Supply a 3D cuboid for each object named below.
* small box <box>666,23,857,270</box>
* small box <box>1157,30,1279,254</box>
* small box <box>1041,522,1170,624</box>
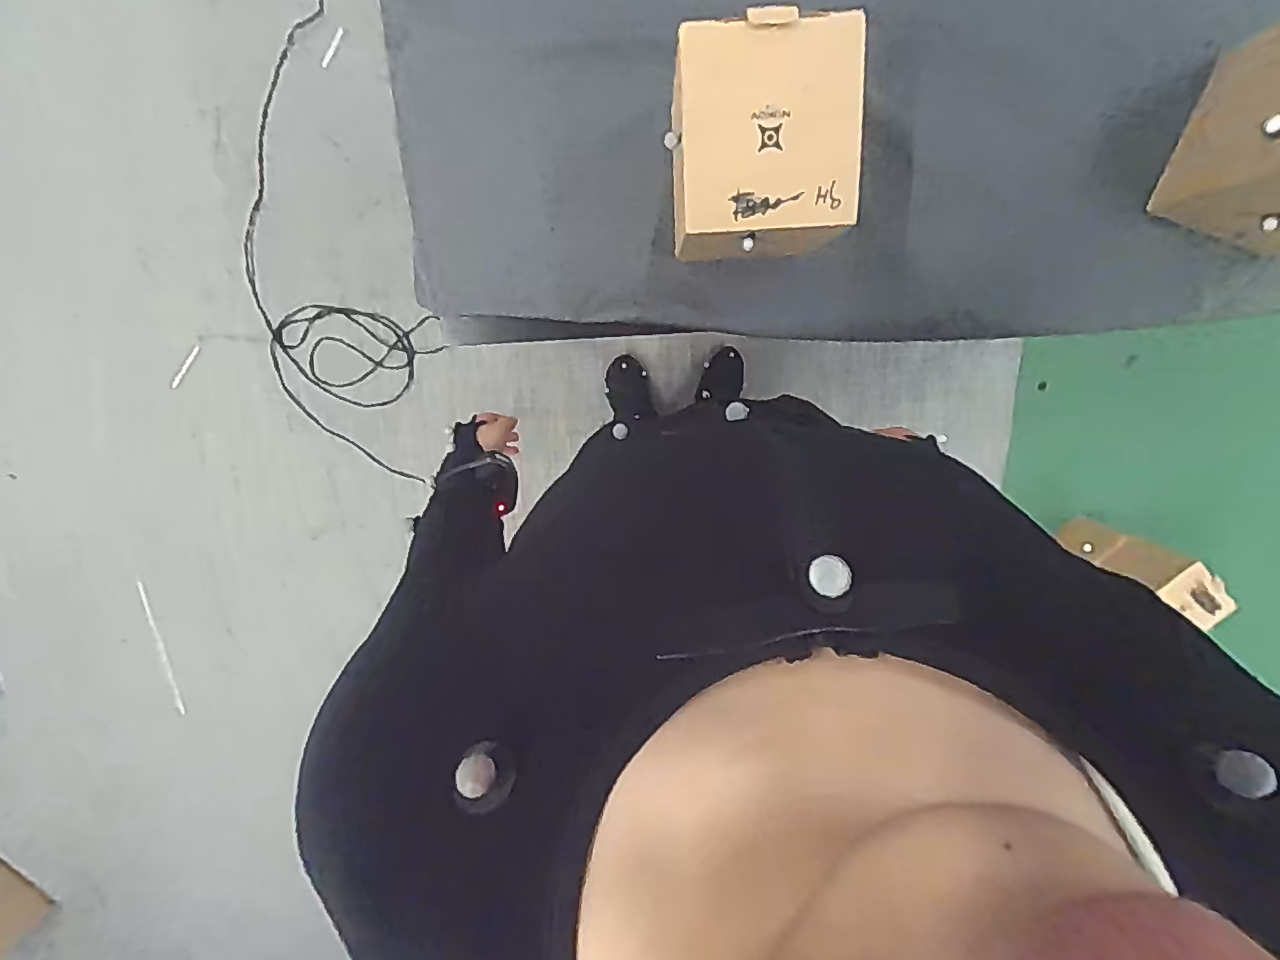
[{"bbox_3d":[0.114,-0.330,0.571,0.168,0.176,0.179,-3,103,2],"label":"small box"},{"bbox_3d":[0.696,-0.349,0.547,0.168,0.176,0.179,17,102,-3],"label":"small box"},{"bbox_3d":[1.227,0.243,1.448,0.168,0.176,0.179,43,101,-9],"label":"small box"}]
